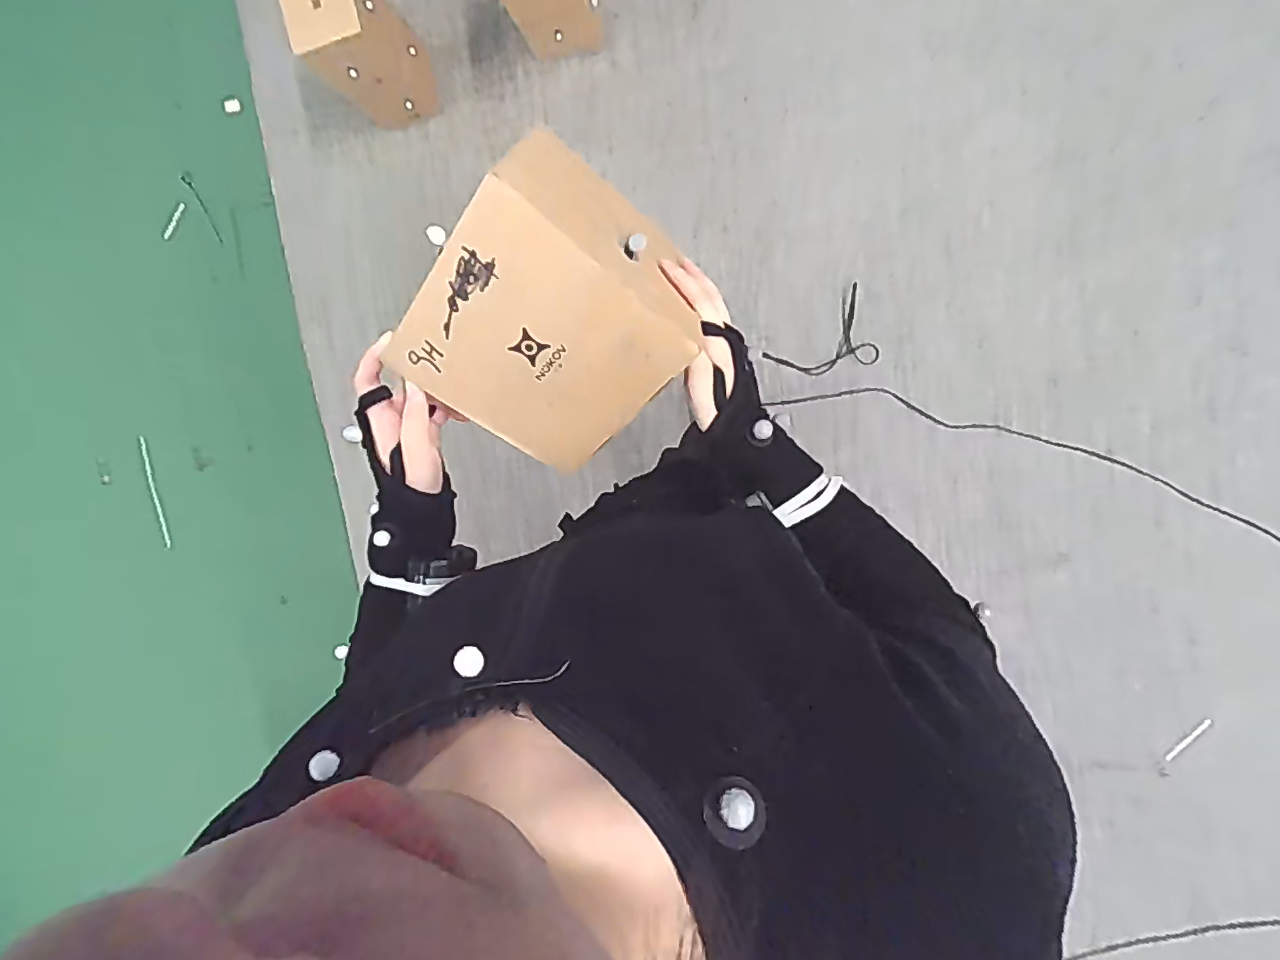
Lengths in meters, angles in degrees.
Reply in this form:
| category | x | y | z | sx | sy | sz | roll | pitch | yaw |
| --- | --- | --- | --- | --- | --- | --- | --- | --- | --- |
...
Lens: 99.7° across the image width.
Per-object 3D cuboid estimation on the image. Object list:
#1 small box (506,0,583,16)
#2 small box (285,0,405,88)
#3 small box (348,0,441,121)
| category | x | y | z | sx | sy | sz | roll | pitch | yaw |
| --- | --- | --- | --- | --- | --- | --- | --- | --- | --- |
| small box | -0.220 | -1.115 | 1.121 | 0.179 | 0.176 | 0.168 | -3 | 97 | 10 |
| small box | -0.655 | -1.018 | 1.207 | 0.168 | 0.176 | 0.179 | -10 | 96 | 9 |
| small box | -0.627 | -1.044 | 1.367 | 0.168 | 0.176 | 0.179 | -8 | 96 | 10 |
